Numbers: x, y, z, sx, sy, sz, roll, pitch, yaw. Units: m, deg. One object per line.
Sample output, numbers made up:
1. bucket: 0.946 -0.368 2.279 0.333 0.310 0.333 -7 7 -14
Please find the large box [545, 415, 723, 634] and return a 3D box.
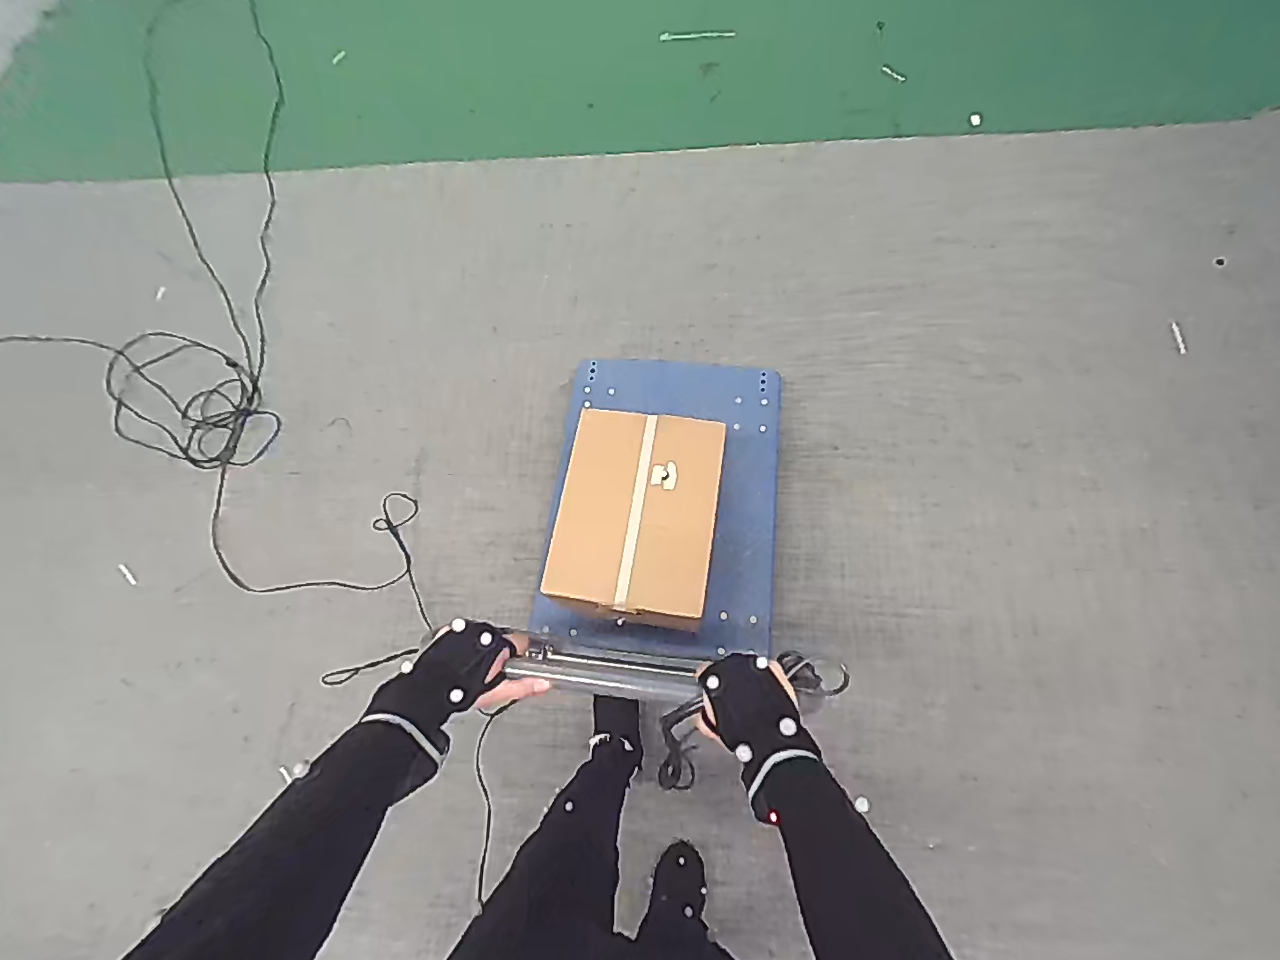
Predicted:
1. large box: 0.007 0.113 1.222 0.320 0.320 0.408 8 70 7
